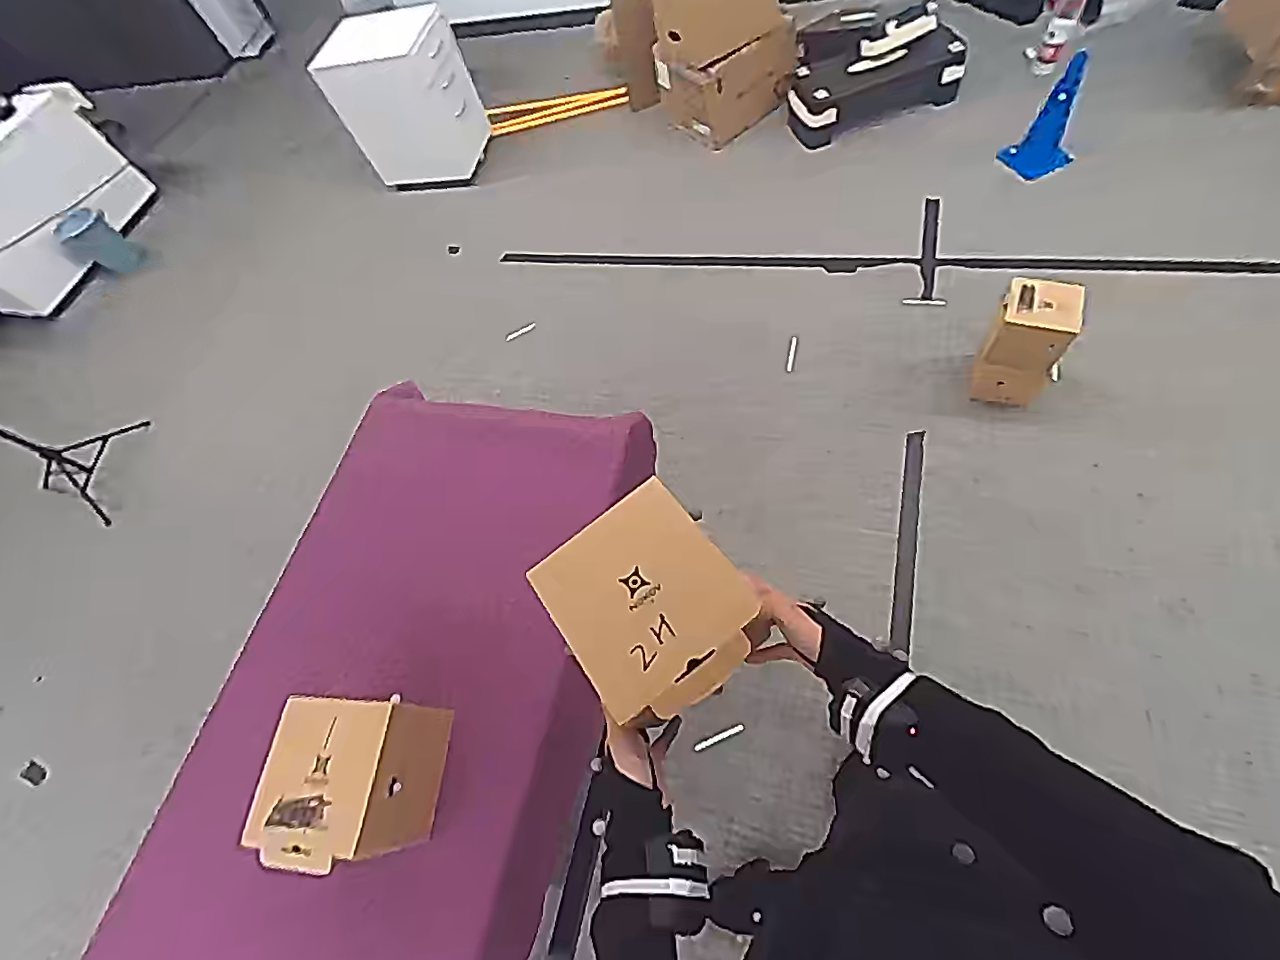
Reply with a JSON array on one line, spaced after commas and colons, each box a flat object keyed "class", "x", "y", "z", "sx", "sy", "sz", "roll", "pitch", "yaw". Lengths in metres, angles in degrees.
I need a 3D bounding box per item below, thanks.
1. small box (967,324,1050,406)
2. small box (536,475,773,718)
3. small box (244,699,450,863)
[{"class": "small box", "x": 1.114, "y": -0.346, "z": 1.643, "sx": 0.168, "sy": 0.176, "sz": 0.179, "roll": 12, "pitch": 67, "yaw": 18}, {"class": "small box", "x": 0.022, "y": 0.133, "z": 0.577, "sx": 0.168, "sy": 0.176, "sz": 0.179, "roll": -37, "pitch": 63, "yaw": -4}, {"class": "small box", "x": -0.393, "y": 0.414, "z": 0.763, "sx": 0.168, "sy": 0.176, "sz": 0.179, "roll": -2, "pitch": 63, "yaw": 12}]
